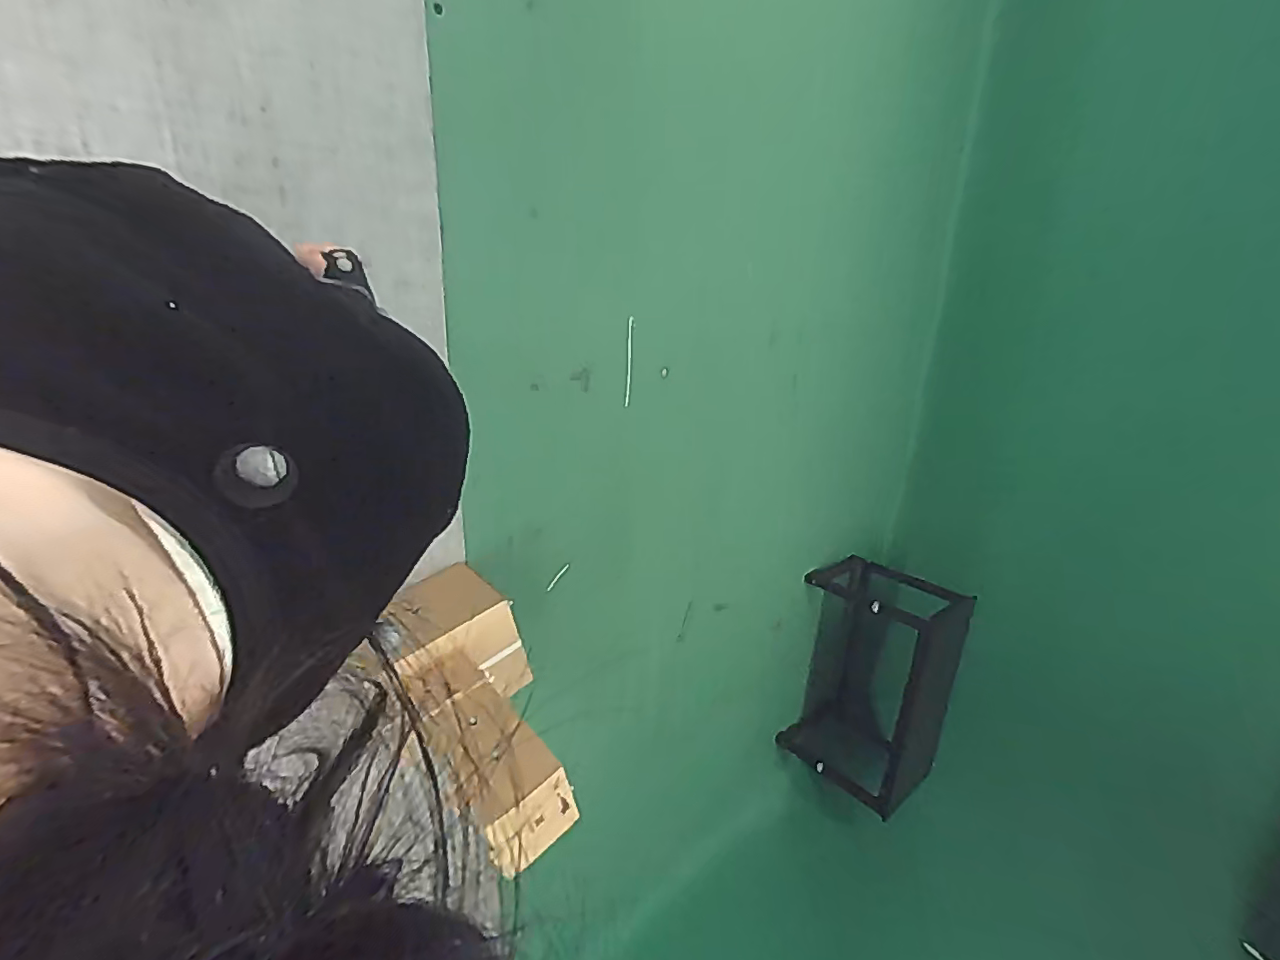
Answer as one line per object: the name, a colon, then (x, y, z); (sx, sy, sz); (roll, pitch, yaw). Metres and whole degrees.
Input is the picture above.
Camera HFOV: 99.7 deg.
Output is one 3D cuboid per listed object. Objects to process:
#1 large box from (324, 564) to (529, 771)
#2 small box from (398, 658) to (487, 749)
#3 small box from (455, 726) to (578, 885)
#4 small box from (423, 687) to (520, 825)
large box: (-0.598, 0.504, 1.539); (0.408, 0.320, 0.320); (-29, 123, -34)
small box: (-0.471, 0.568, 1.336); (0.168, 0.176, 0.179); (-27, 121, -33)
small box: (-0.257, 0.652, 1.102); (0.179, 0.176, 0.168); (-27, 121, -32)
small box: (-0.367, 0.611, 1.218); (0.179, 0.176, 0.168); (-29, 121, -33)
